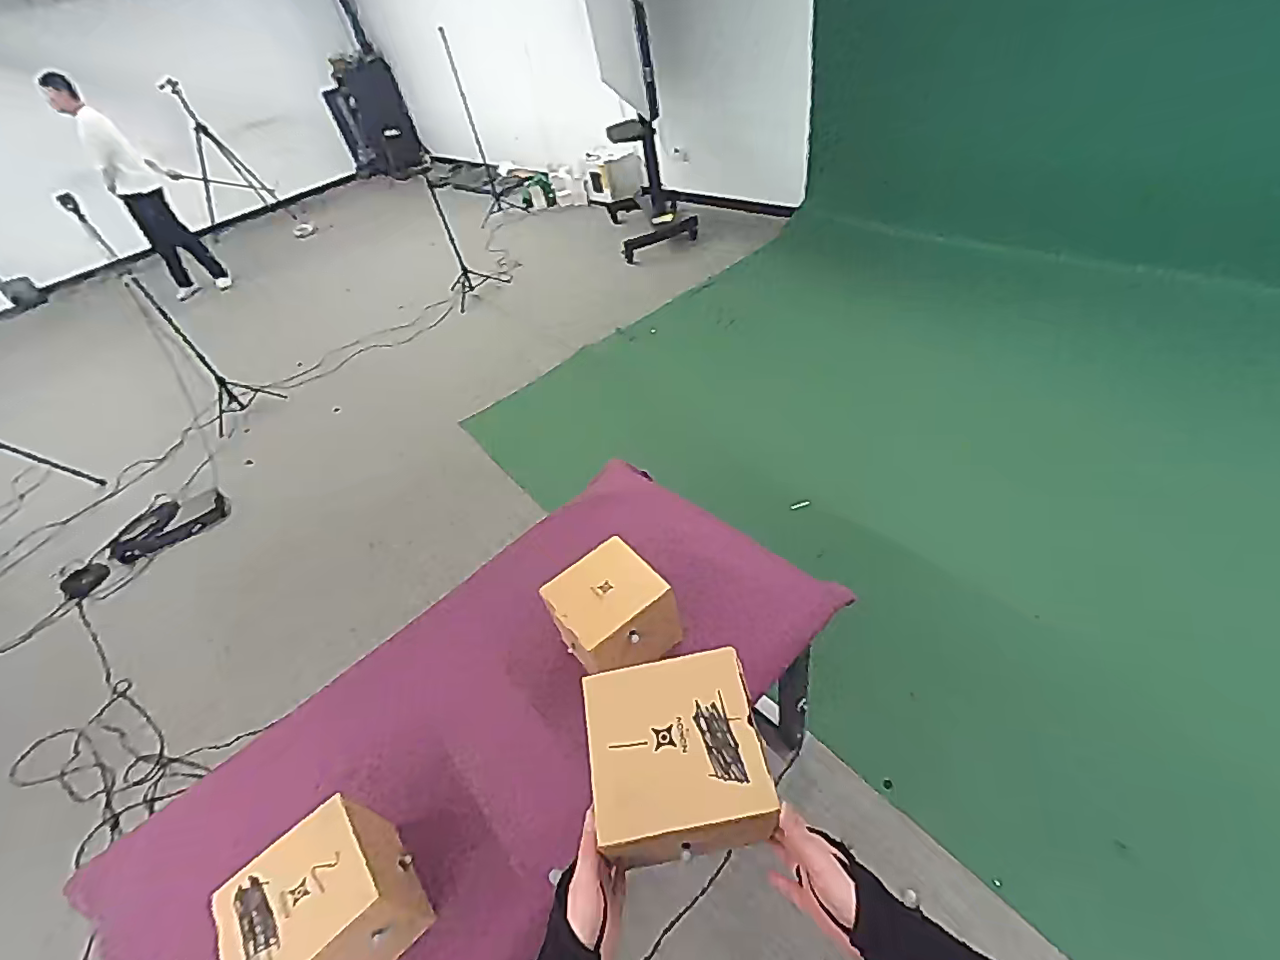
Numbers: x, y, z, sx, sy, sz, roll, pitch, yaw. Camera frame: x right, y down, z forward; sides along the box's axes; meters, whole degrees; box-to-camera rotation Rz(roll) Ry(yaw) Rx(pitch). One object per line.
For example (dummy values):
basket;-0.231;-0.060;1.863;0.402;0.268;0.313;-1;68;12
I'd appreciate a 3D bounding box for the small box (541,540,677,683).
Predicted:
small box;-0.047;0.249;0.980;0.179;0.176;0.168;-34;47;-20

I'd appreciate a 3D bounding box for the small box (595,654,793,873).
small box;0.053;0.319;0.606;0.179;0.176;0.168;-11;47;-1
